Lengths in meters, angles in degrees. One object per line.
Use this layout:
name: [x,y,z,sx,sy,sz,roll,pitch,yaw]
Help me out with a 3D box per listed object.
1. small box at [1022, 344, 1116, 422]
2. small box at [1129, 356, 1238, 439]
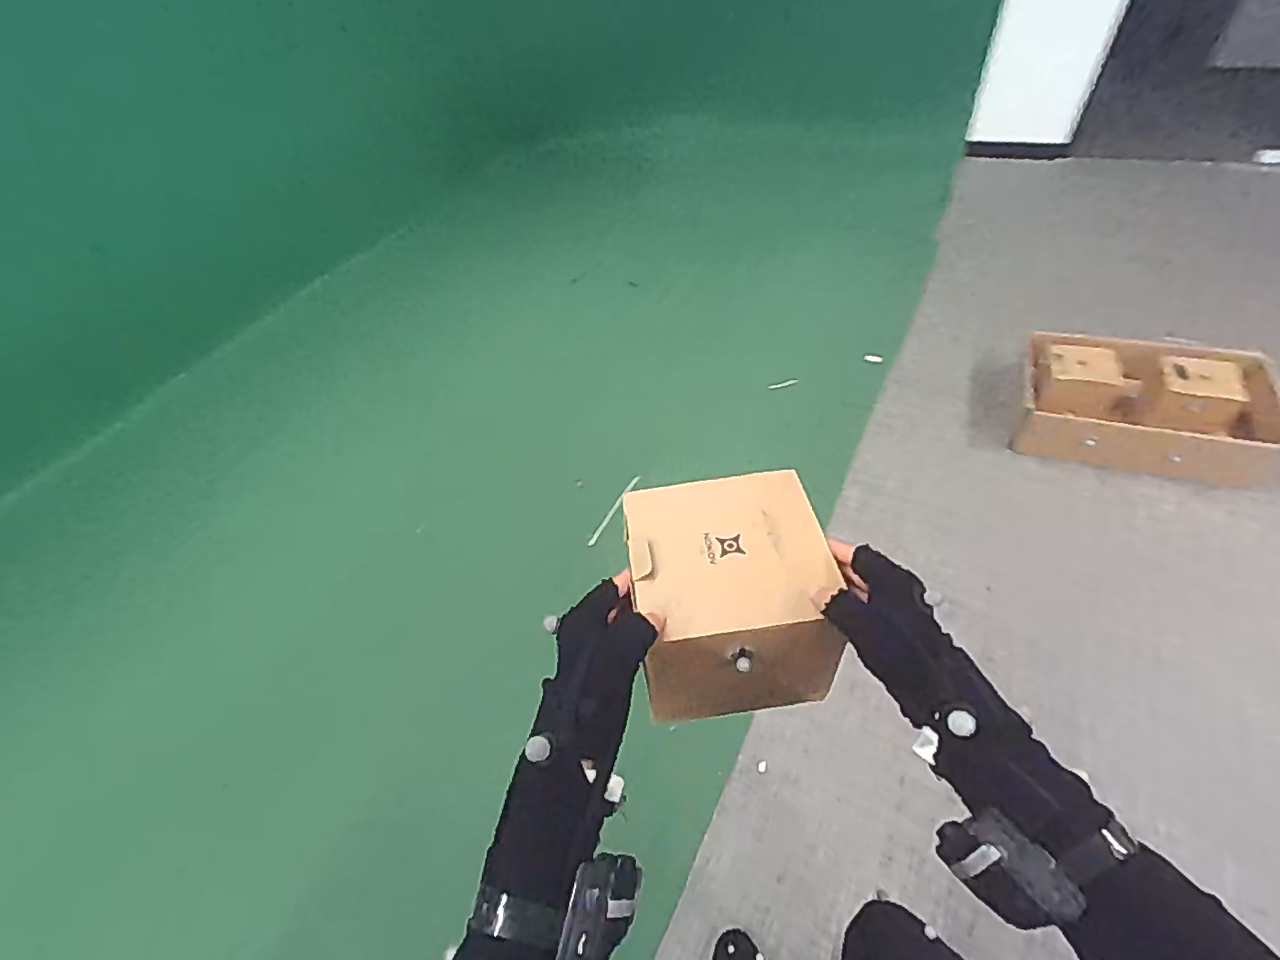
small box: [1.352,-0.303,1.714,0.179,0.176,0.168,12,54,17]
small box: [1.611,-0.244,1.618,0.179,0.176,0.168,15,55,20]
